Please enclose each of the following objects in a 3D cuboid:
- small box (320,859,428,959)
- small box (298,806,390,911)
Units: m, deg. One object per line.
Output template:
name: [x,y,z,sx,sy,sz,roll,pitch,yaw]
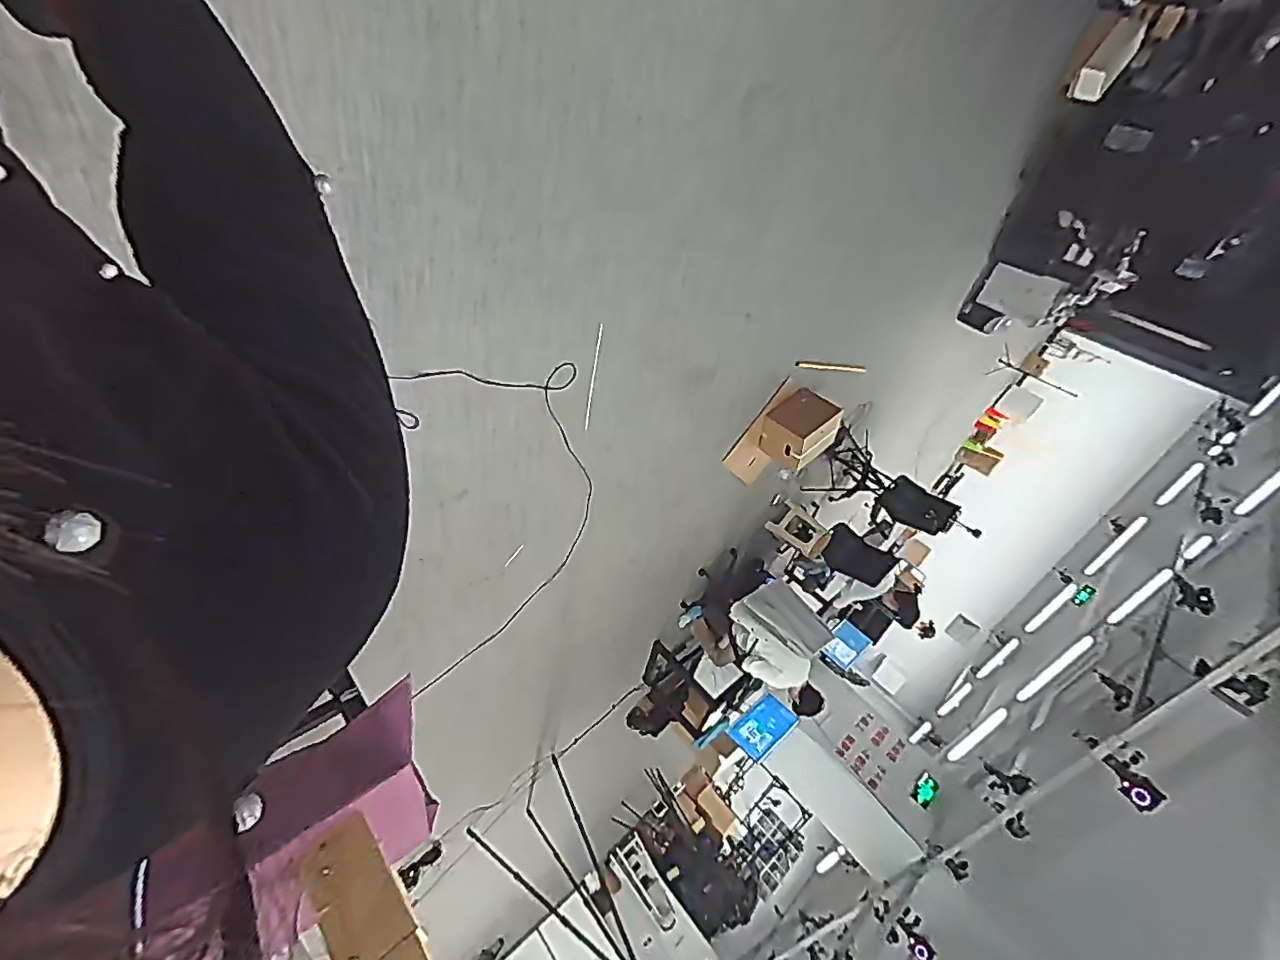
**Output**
small box: [-0.655,1.089,1.338,0.179,0.176,0.168,-26,143,-32]
small box: [-0.765,0.997,1.415,0.168,0.176,0.179,-26,144,-34]
